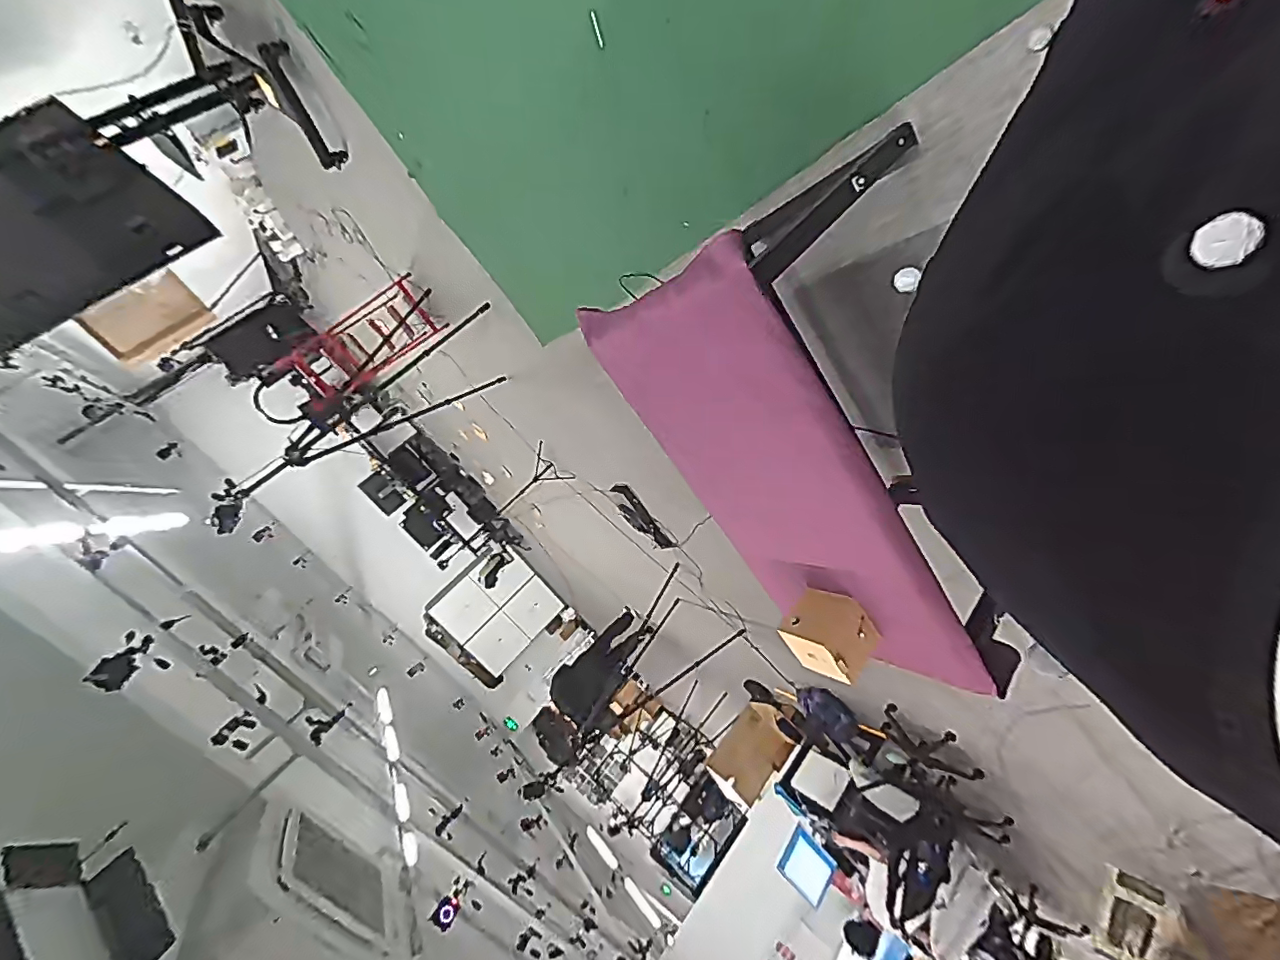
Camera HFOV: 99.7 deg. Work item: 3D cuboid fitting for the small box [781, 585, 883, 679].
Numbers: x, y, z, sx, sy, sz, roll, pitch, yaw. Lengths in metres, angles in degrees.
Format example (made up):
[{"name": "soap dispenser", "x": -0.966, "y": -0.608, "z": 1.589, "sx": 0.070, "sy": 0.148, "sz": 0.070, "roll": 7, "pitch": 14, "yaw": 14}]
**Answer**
[{"name": "small box", "x": 0.541, "y": 0.418, "z": 1.517, "sx": 0.168, "sy": 0.176, "sz": 0.179, "roll": 52, "pitch": 157, "yaw": -19}]
